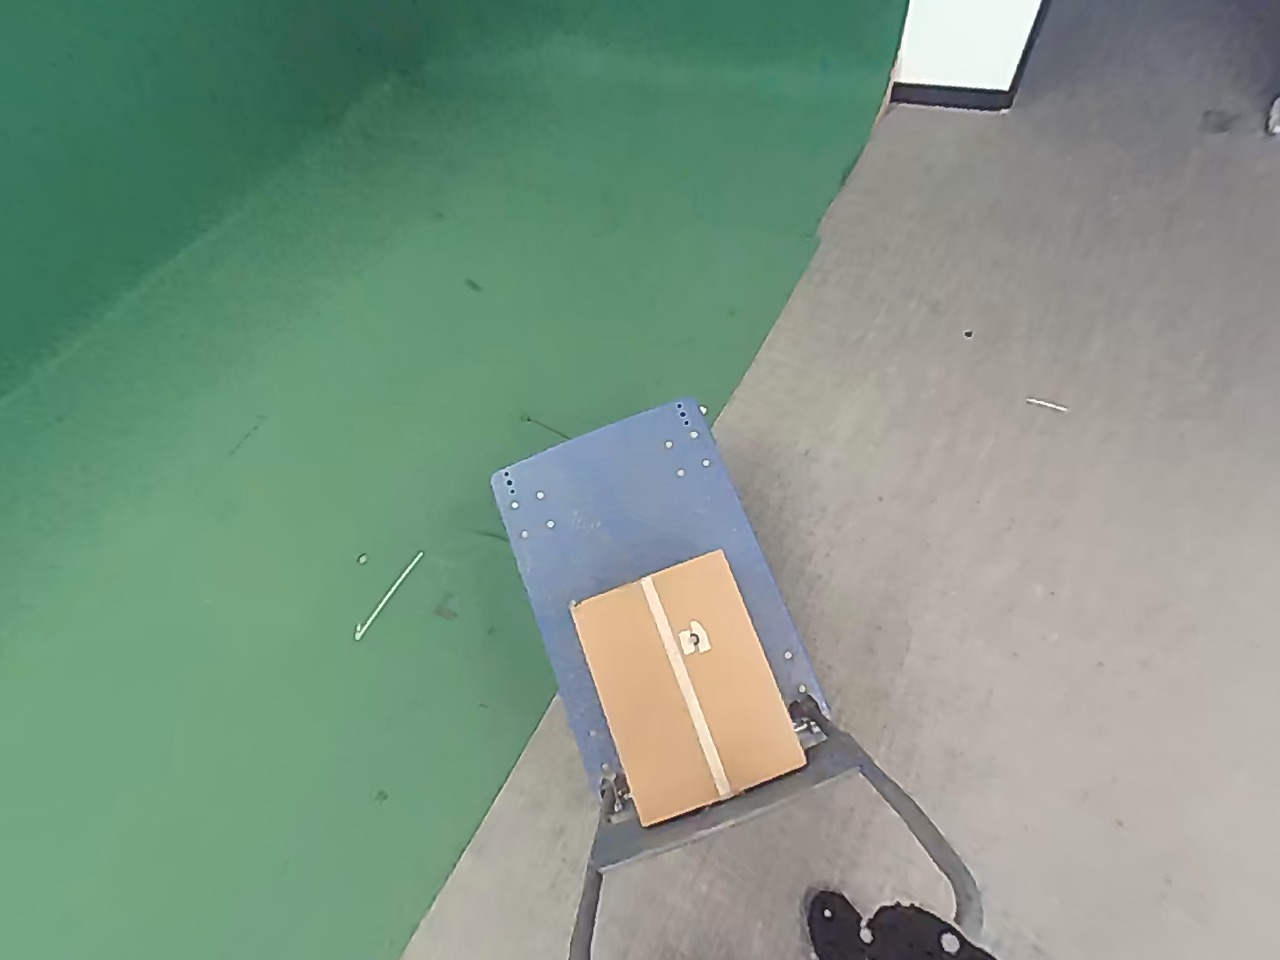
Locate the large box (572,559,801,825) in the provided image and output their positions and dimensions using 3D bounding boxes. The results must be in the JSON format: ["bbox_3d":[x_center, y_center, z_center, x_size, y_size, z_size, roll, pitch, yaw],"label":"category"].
[{"bbox_3d":[0.093,0.416,1.150,0.320,0.320,0.408,-21,77,0],"label":"large box"}]
